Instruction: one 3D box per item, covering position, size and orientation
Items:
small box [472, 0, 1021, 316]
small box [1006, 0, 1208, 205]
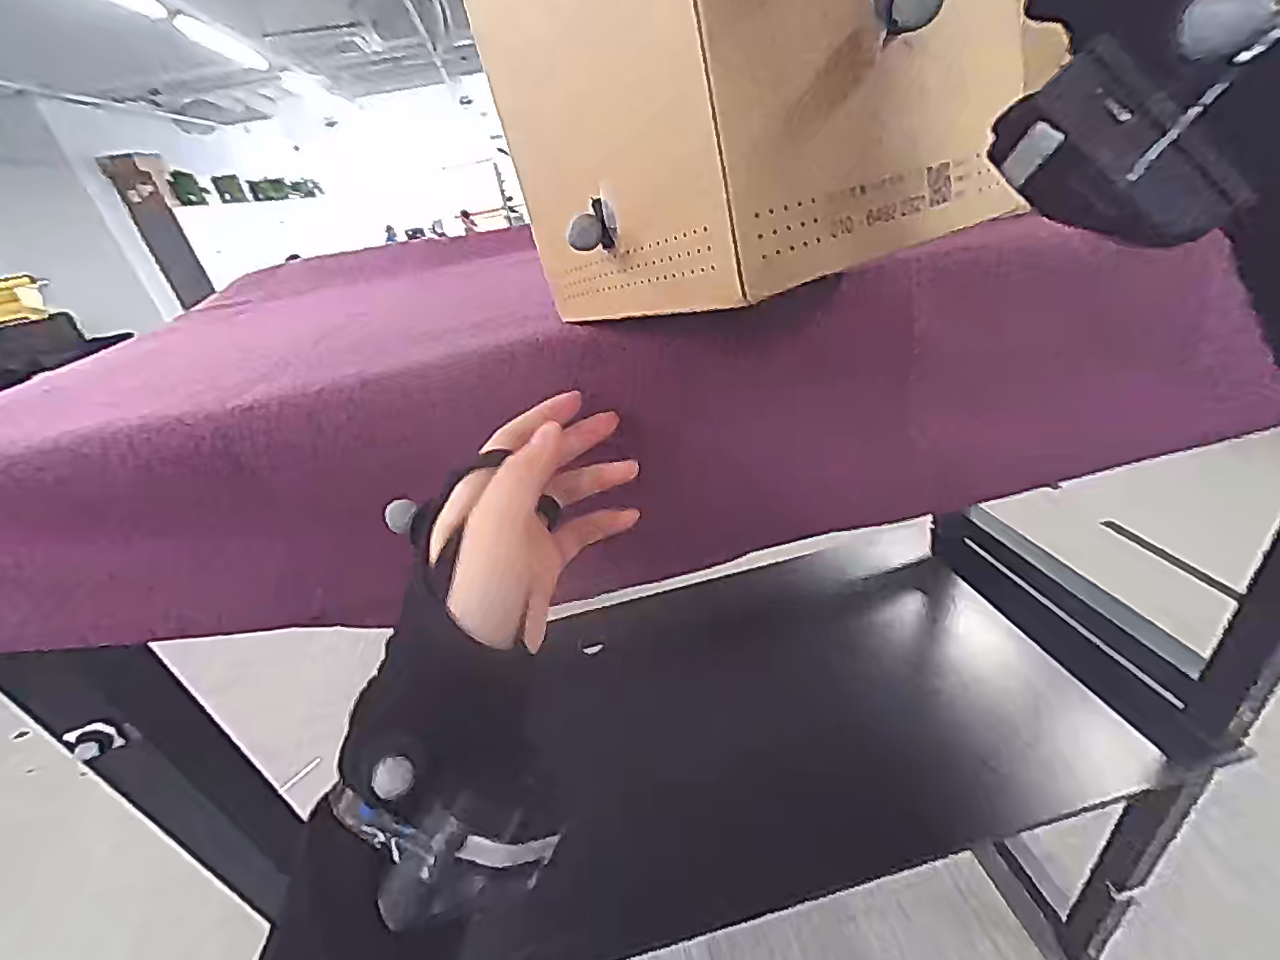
[{"bbox_3d":[0.045,-0.180,0.249,0.168,0.176,0.179,-25,24,-24],"label":"small box"},{"bbox_3d":[0.287,-0.311,0.423,0.168,0.176,0.179,-16,29,-9],"label":"small box"}]
